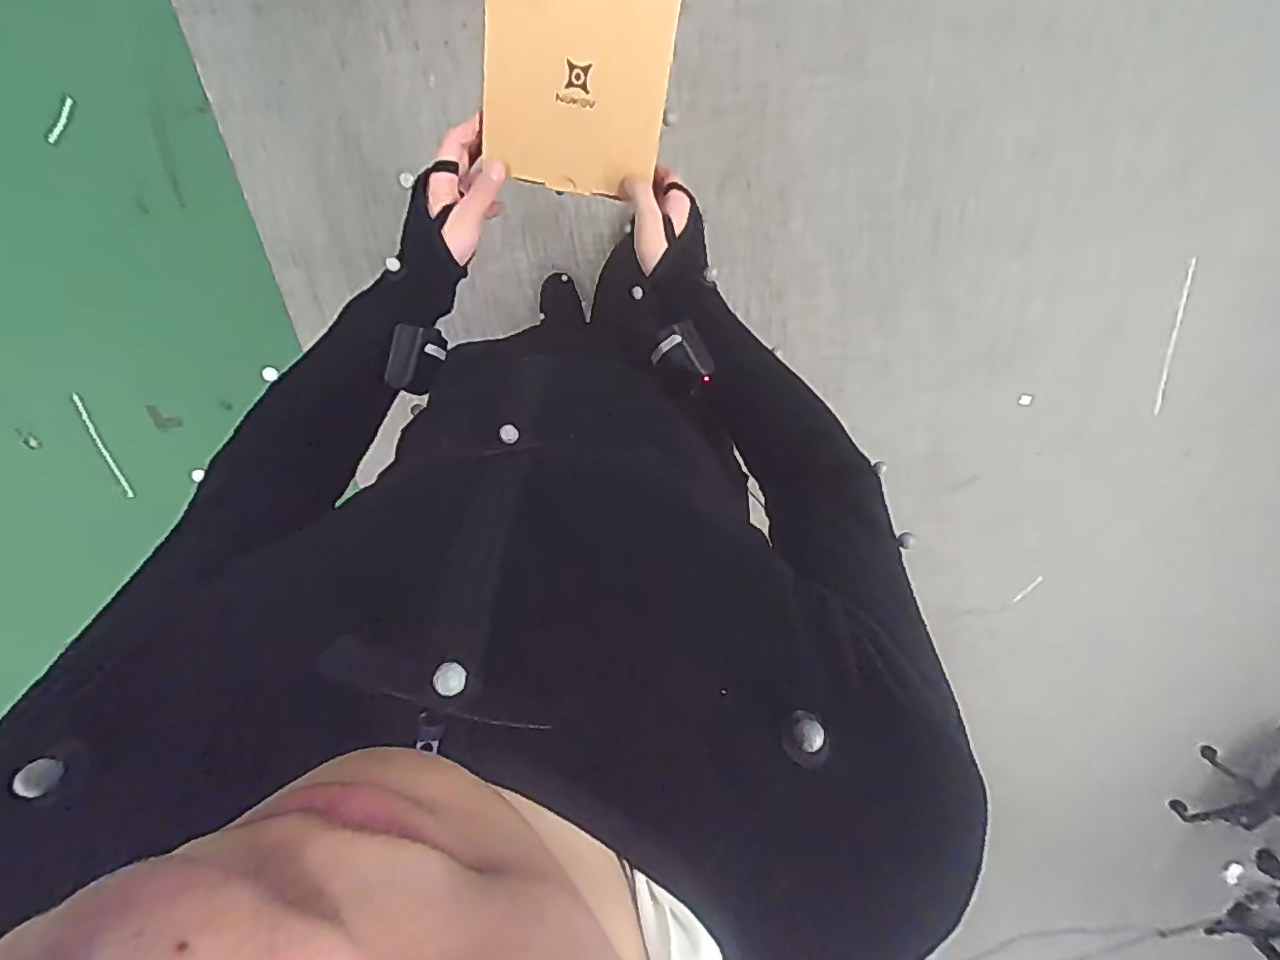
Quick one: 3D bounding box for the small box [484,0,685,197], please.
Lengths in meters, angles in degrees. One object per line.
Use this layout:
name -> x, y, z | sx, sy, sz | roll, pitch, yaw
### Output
small box -> -0.061, -0.405, 0.549 | 0.168, 0.176, 0.179 | 5, 122, -9

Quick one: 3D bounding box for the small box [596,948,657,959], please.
small box -> -0.021, 1.373, 1.407 | 0.168, 0.176, 0.179 | -13, 113, 0
